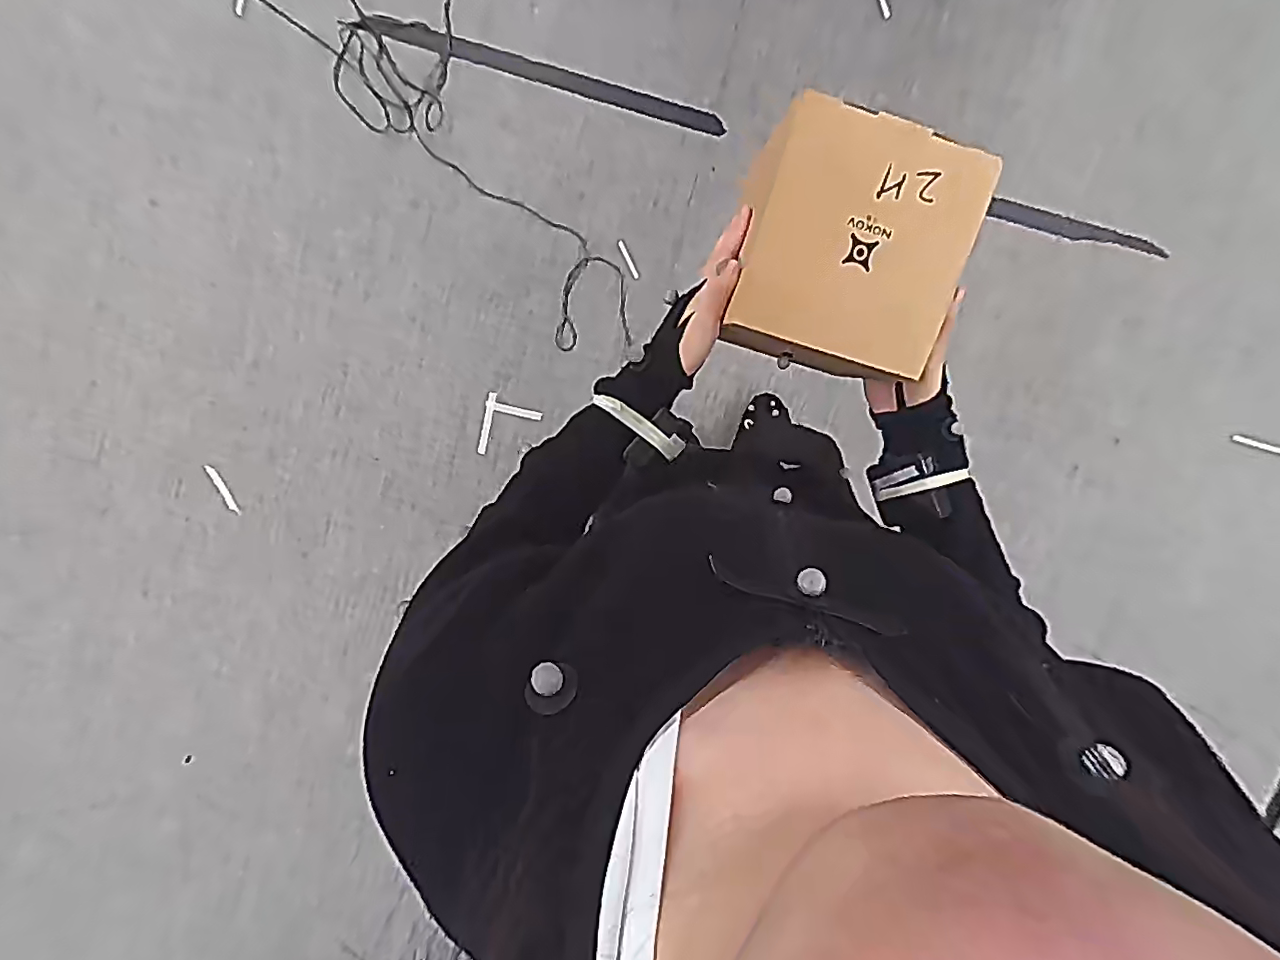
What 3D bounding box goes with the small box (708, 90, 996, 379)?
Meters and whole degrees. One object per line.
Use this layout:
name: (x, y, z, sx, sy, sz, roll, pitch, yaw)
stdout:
small box: (0.170, -0.203, 0.502, 0.168, 0.176, 0.179, 16, 100, -6)
